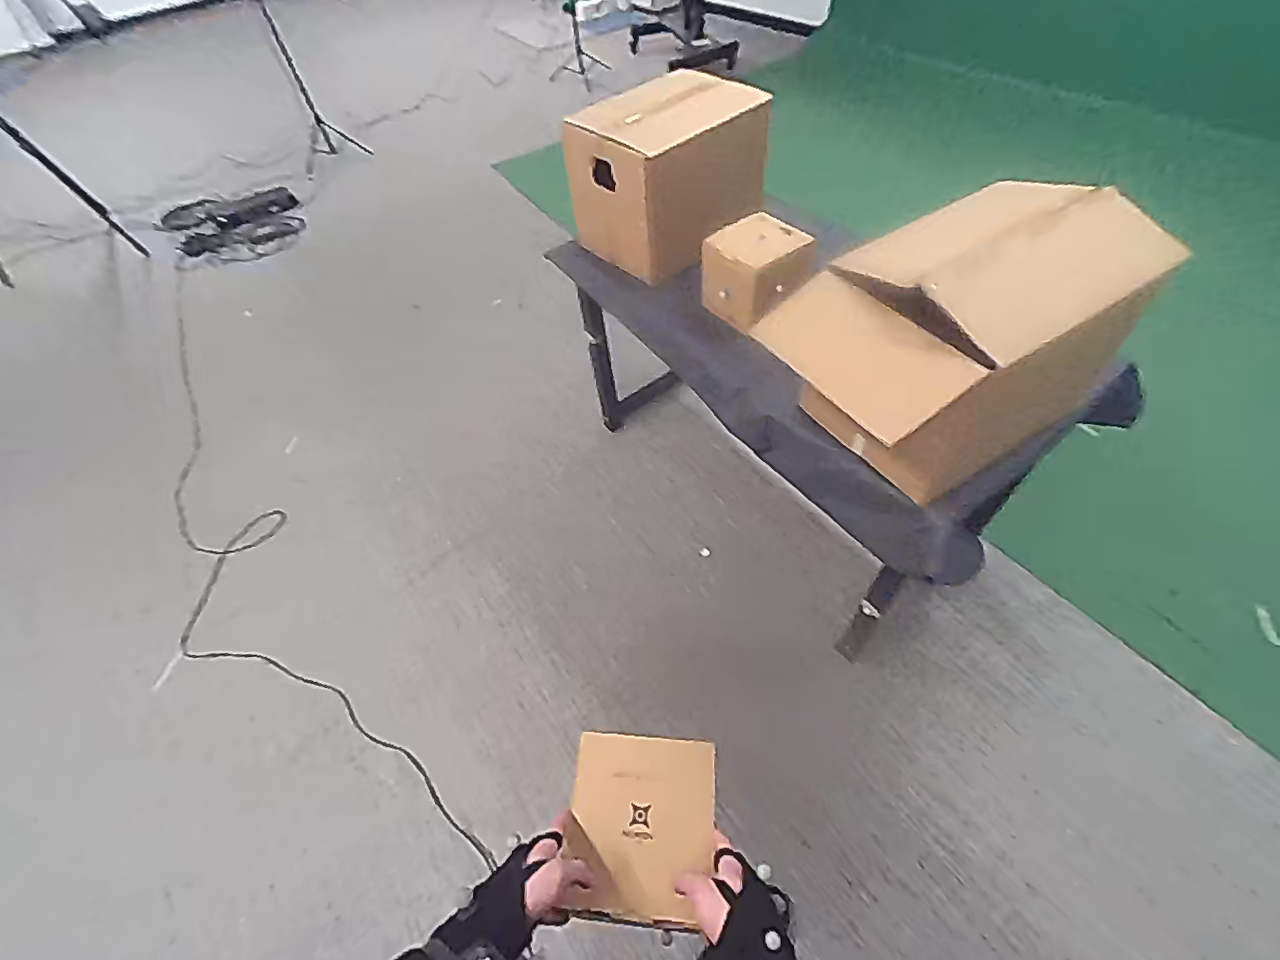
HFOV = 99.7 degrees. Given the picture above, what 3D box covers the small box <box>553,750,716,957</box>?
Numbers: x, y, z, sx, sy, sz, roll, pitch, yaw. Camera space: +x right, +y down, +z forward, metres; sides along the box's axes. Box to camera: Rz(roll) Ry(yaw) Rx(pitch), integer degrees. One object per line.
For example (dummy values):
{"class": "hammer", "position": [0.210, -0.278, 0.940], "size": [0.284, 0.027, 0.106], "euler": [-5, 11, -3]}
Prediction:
{"class": "small box", "position": [0.004, 0.441, 0.641], "size": [0.168, 0.176, 0.179], "euler": [2, 49, 4]}
